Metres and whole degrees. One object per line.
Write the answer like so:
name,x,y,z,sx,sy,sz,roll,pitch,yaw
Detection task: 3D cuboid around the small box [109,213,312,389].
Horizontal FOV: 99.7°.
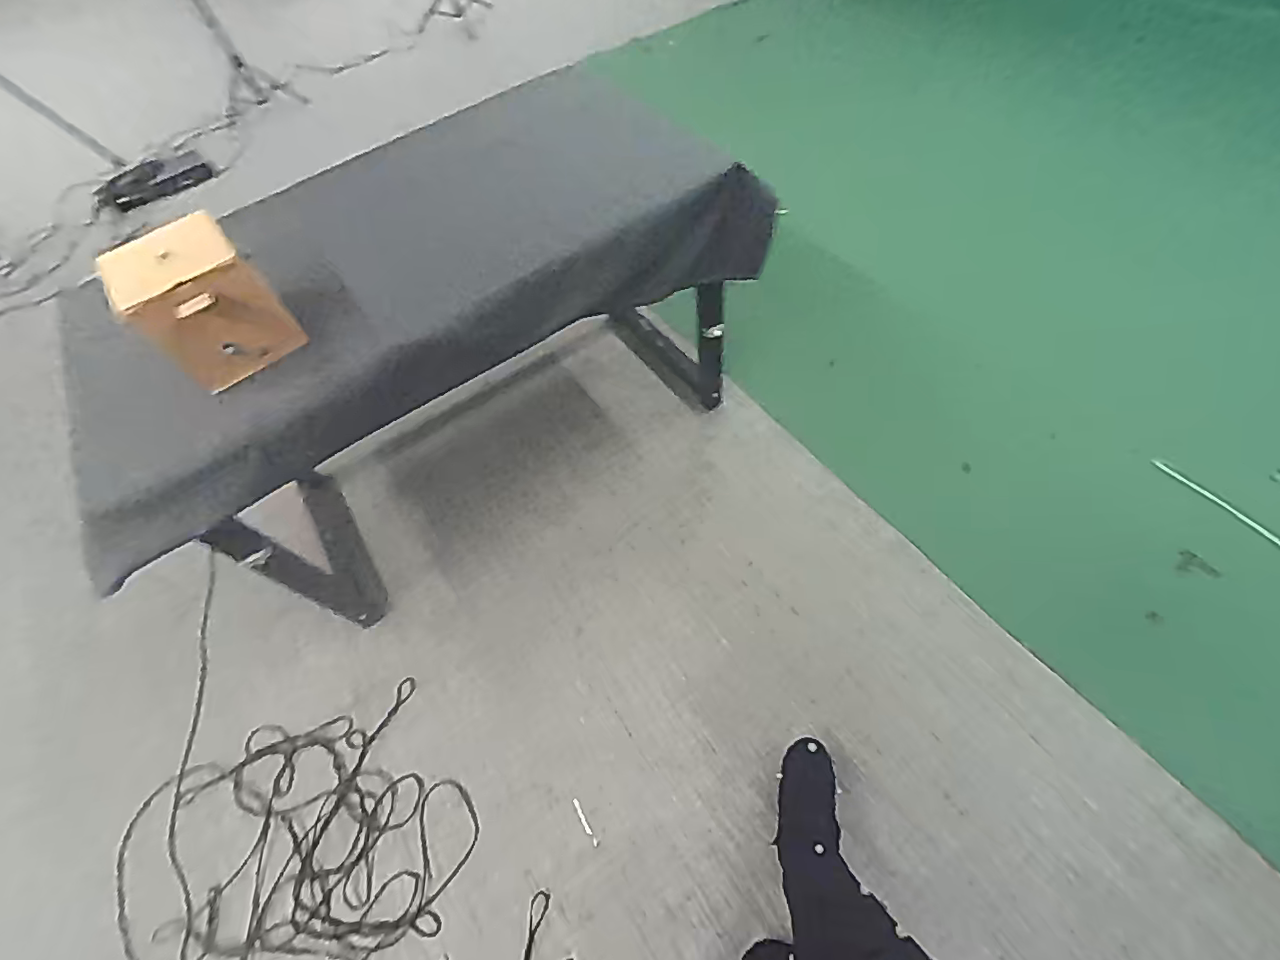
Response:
small box,-0.665,-0.277,0.851,0.168,0.176,0.179,-37,61,-16
